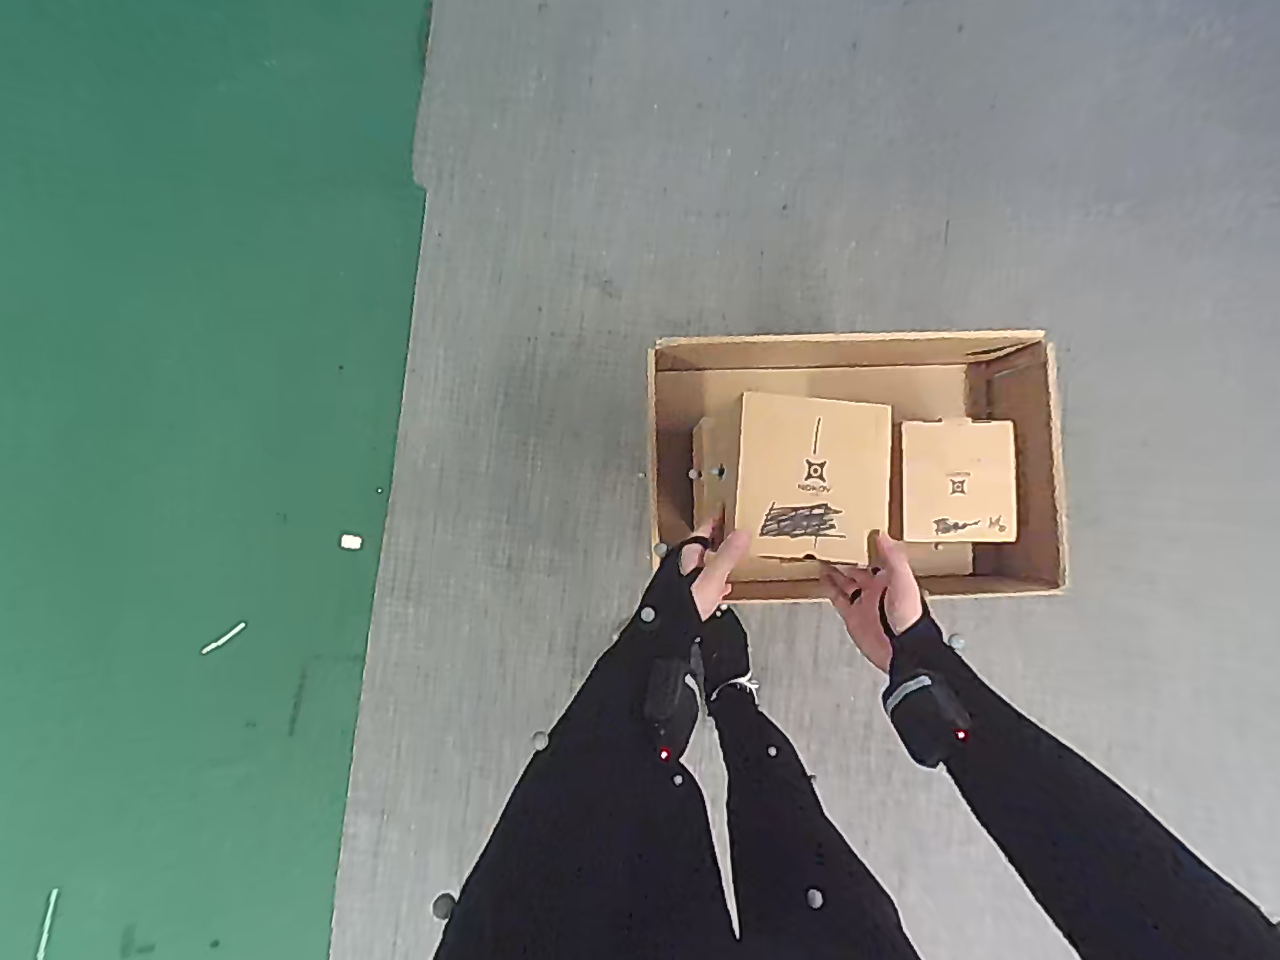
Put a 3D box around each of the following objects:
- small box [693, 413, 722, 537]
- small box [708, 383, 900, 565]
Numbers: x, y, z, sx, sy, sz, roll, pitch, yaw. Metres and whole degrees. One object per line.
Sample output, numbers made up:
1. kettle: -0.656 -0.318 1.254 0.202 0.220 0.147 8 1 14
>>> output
1. small box: 0.173 -0.005 0.835 0.168 0.176 0.179 -1 87 -1
2. small box: 0.179 0.000 0.636 0.168 0.176 0.179 6 84 -4
